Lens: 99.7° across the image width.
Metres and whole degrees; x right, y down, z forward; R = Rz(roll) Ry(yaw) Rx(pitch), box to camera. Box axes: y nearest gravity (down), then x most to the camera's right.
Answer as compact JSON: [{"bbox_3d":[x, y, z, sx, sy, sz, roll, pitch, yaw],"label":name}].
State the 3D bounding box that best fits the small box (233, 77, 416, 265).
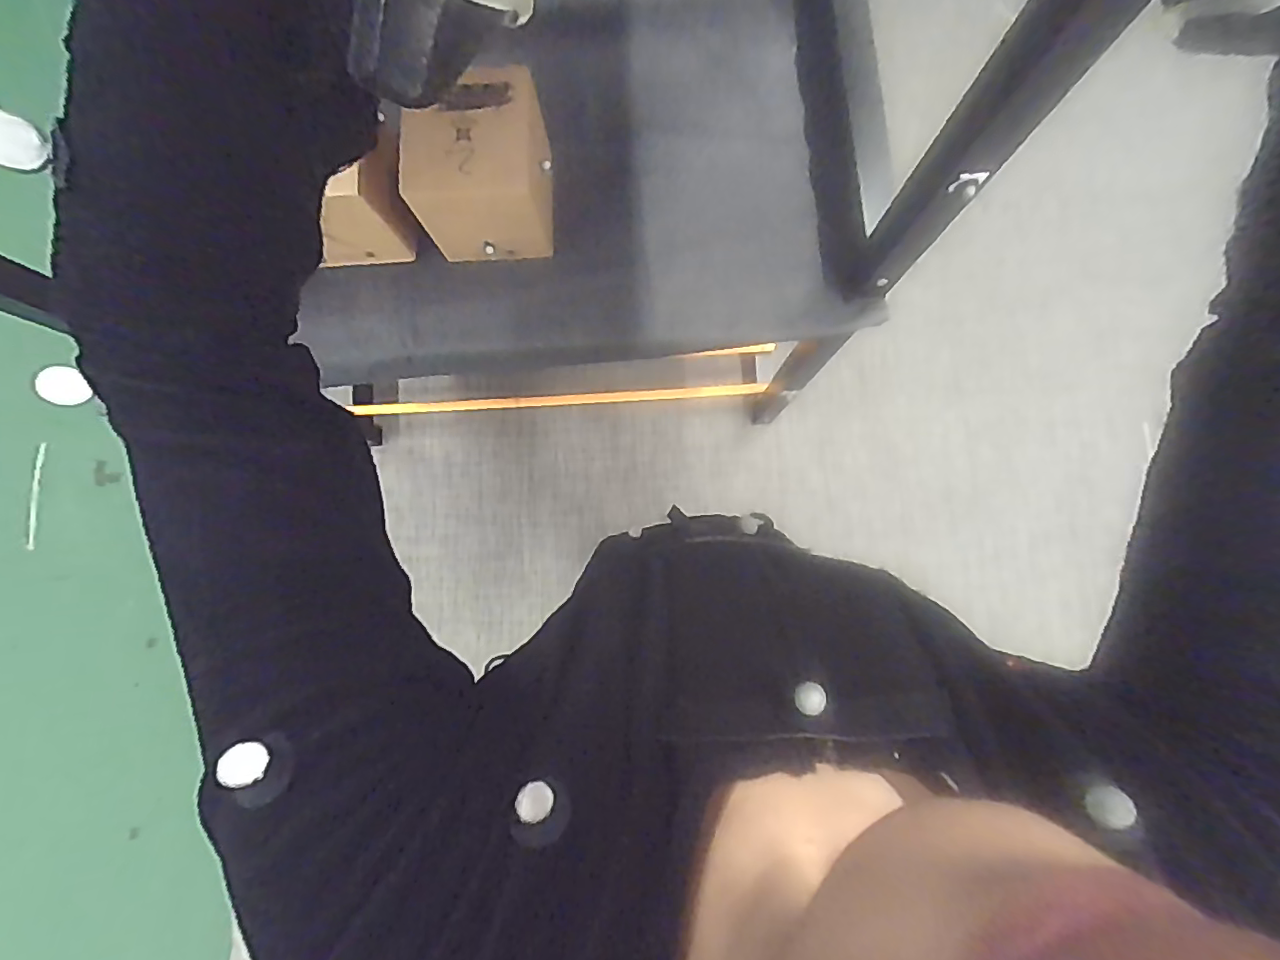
[{"bbox_3d":[-0.436,-0.426,0.775,0.168,0.176,0.179,-3,81,1],"label":"small box"}]
